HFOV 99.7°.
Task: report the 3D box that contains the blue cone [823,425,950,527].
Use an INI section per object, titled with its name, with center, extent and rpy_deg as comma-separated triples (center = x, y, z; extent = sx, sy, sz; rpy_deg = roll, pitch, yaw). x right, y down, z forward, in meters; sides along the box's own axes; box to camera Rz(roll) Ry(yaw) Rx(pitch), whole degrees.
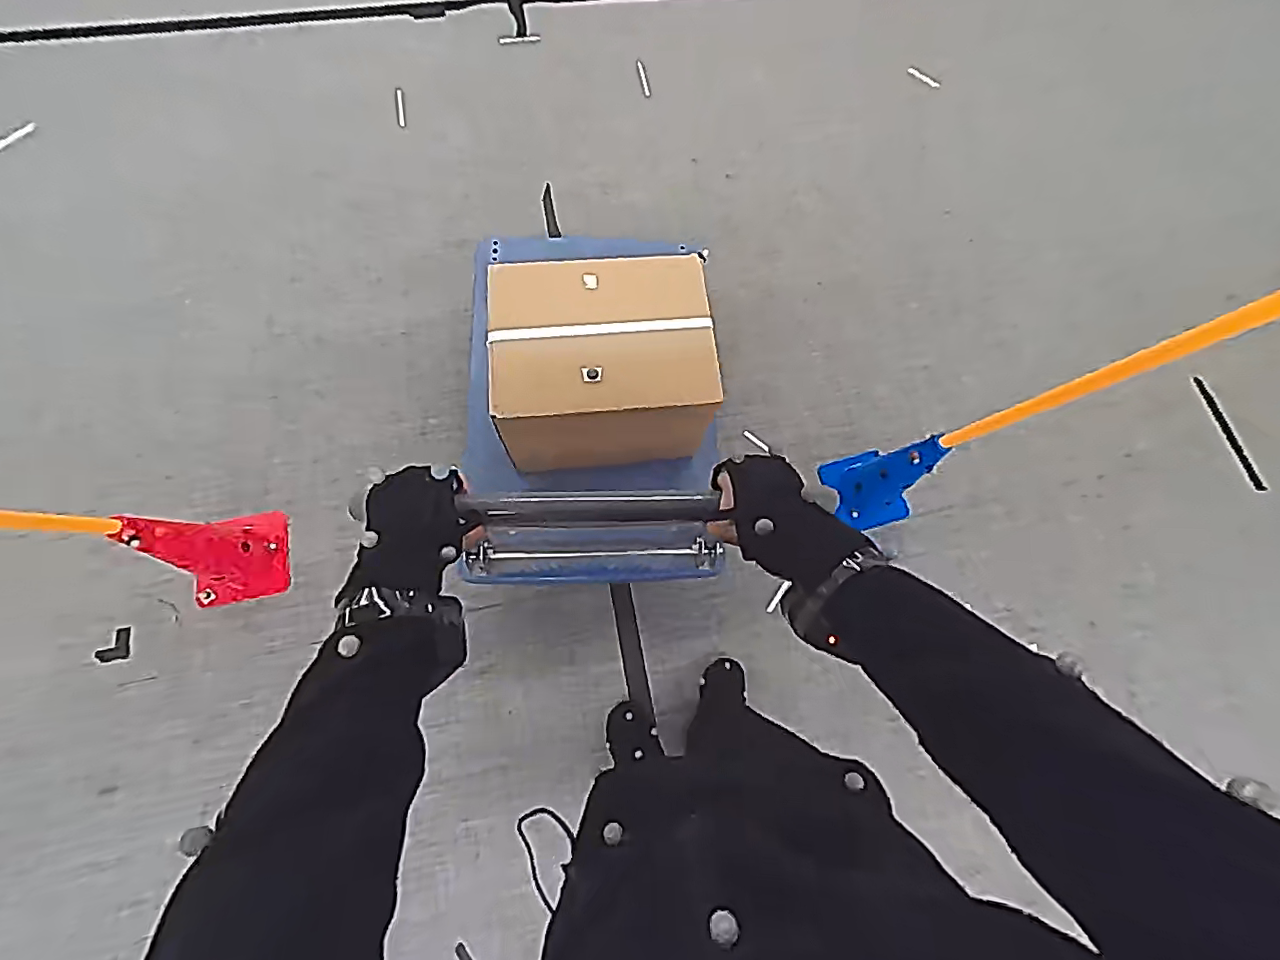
[blue cone]
center = 0.611, -0.029, 1.281
extent = 0.193, 0.380, 0.192
rpy_deg = -14, 73, -9
